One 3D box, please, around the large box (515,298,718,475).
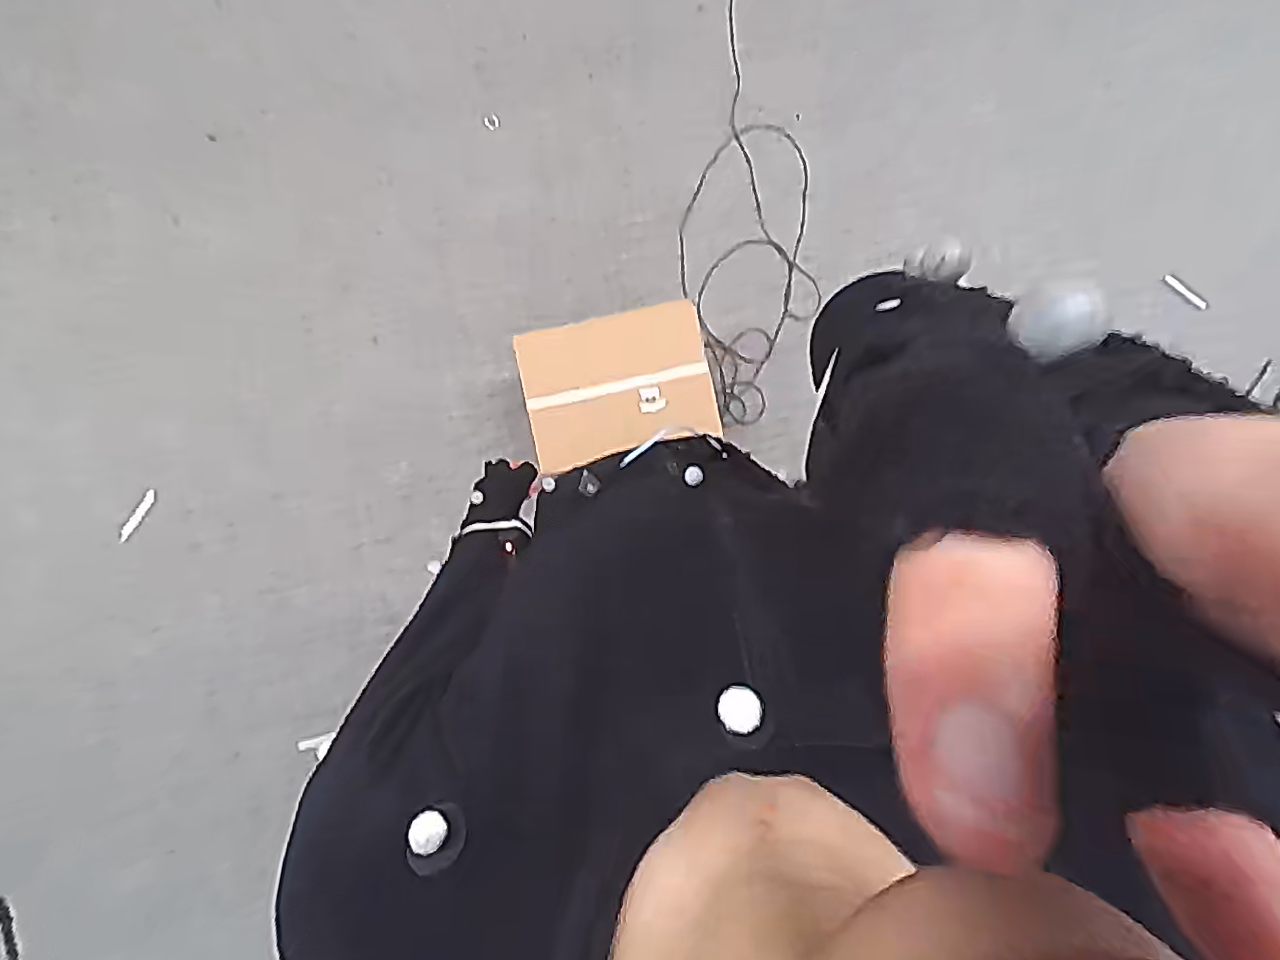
[{"bbox_3d":[-0.053,-0.207,1.333,0.408,0.320,0.320,-12,89,0],"label":"large box"}]
